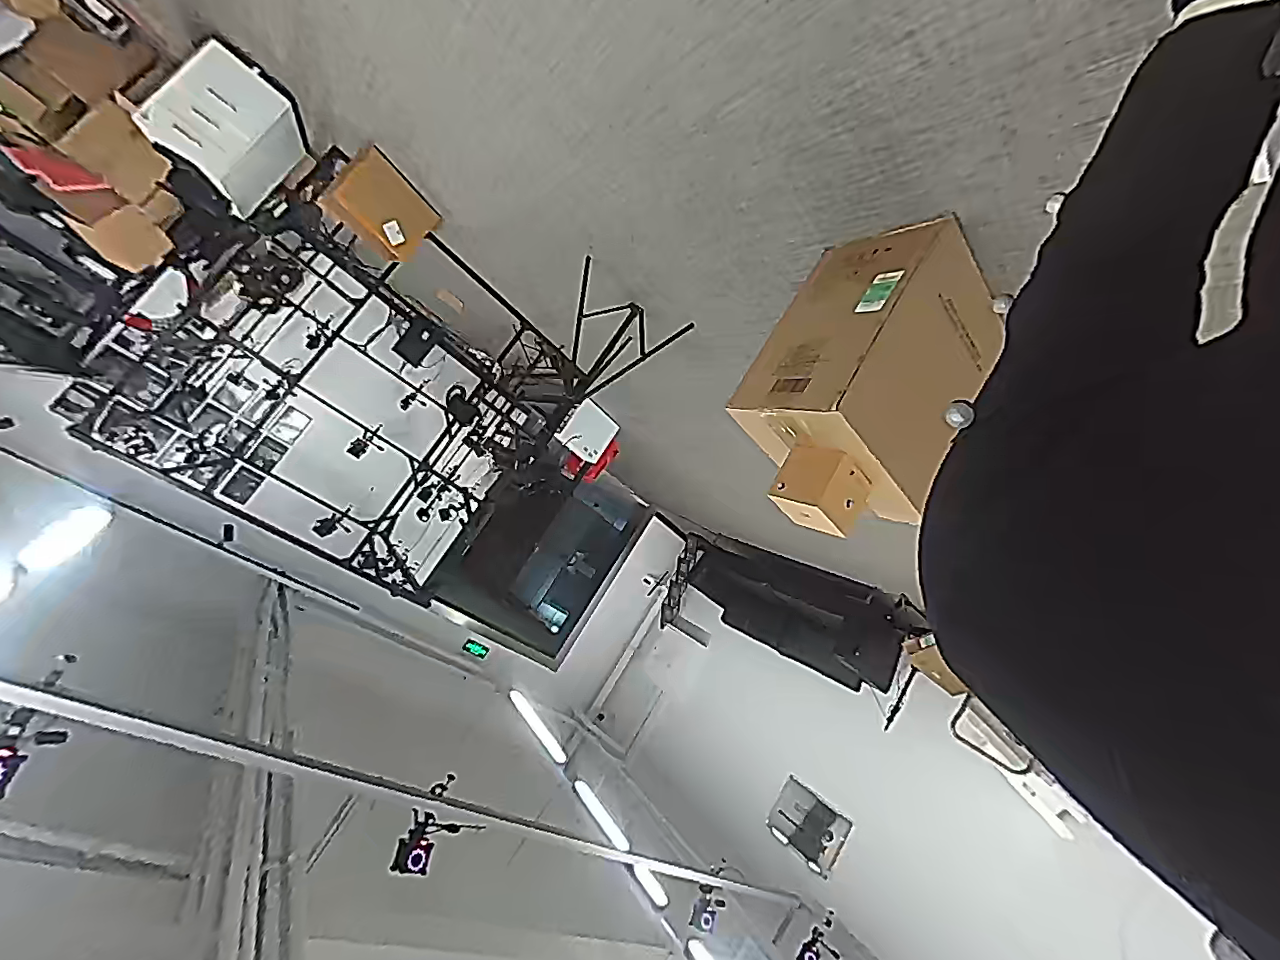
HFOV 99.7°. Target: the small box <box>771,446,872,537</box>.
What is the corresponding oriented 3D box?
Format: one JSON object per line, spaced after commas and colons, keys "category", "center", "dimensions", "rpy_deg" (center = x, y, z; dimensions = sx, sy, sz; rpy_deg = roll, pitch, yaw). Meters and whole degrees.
{"category": "small box", "center": [0.490, 0.024, 1.437], "dimensions": [0.168, 0.176, 0.179], "rpy_deg": [39, 168, -32]}
